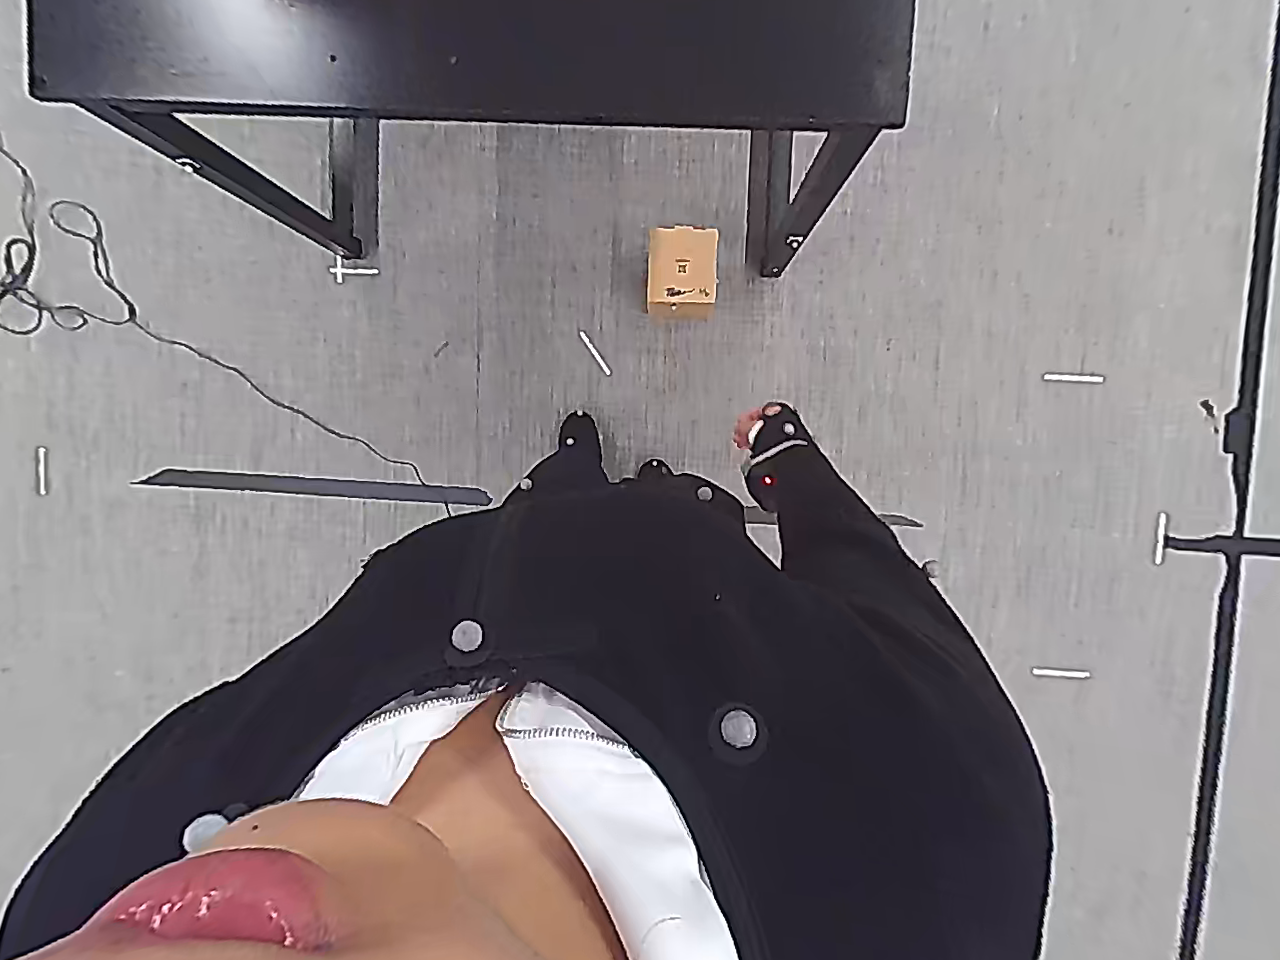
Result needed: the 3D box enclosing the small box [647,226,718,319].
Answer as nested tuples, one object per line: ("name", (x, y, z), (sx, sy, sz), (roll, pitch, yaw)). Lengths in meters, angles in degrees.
("small box", (0.103, -0.519, 1.369), (0.168, 0.176, 0.179), (2, 94, 3))
